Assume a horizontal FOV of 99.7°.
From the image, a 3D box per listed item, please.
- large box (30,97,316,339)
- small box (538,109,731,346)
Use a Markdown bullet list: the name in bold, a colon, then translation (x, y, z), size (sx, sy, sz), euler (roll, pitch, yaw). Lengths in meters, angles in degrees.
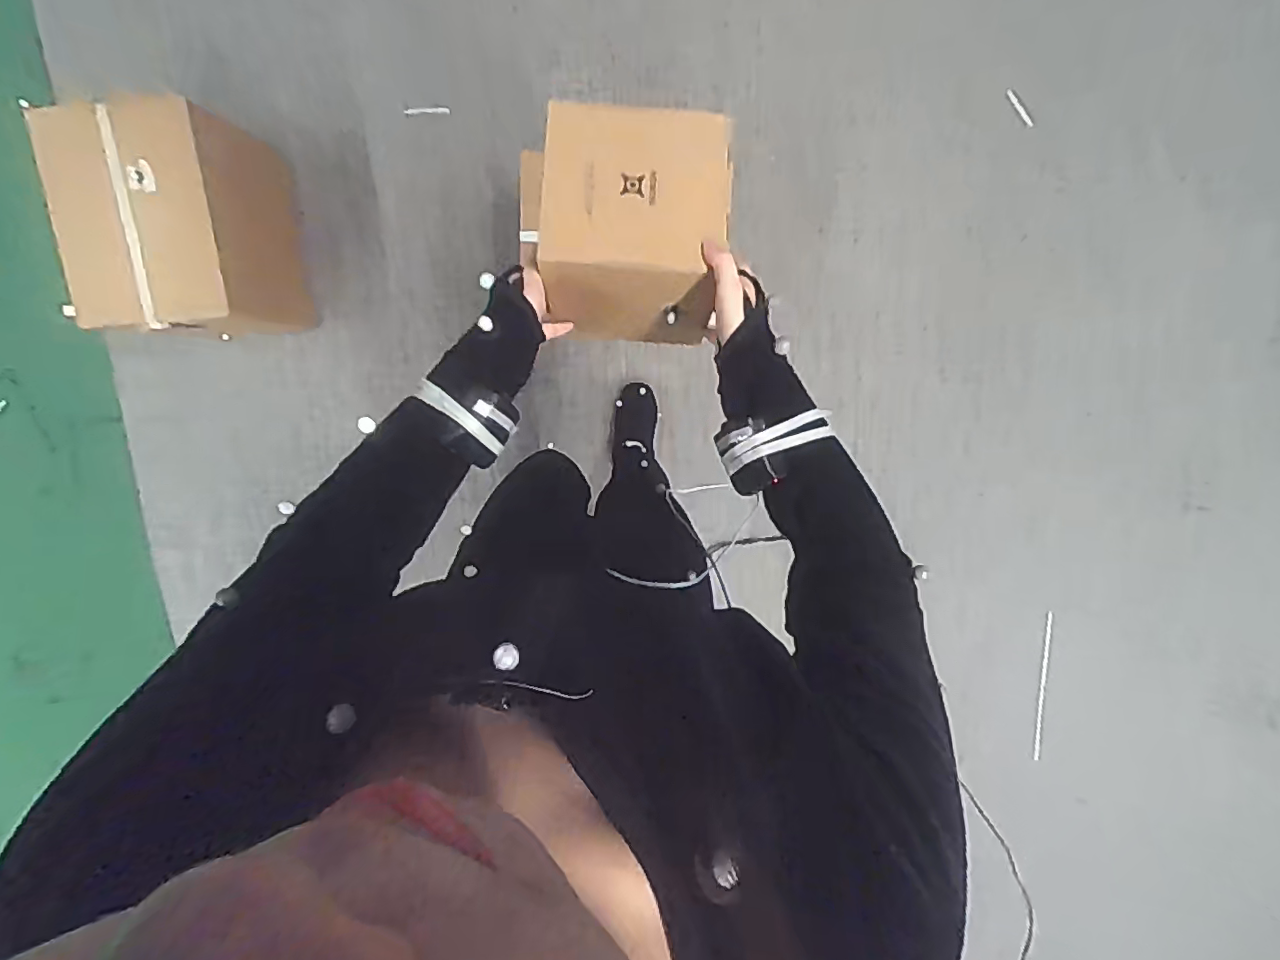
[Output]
- **large box**: translation (-0.986, -0.540, 1.197), size (0.320, 0.320, 0.408), euler (-3, 100, 1)
- **small box**: translation (-0.007, -0.256, 0.586), size (0.179, 0.176, 0.168), euler (3, 80, -2)
